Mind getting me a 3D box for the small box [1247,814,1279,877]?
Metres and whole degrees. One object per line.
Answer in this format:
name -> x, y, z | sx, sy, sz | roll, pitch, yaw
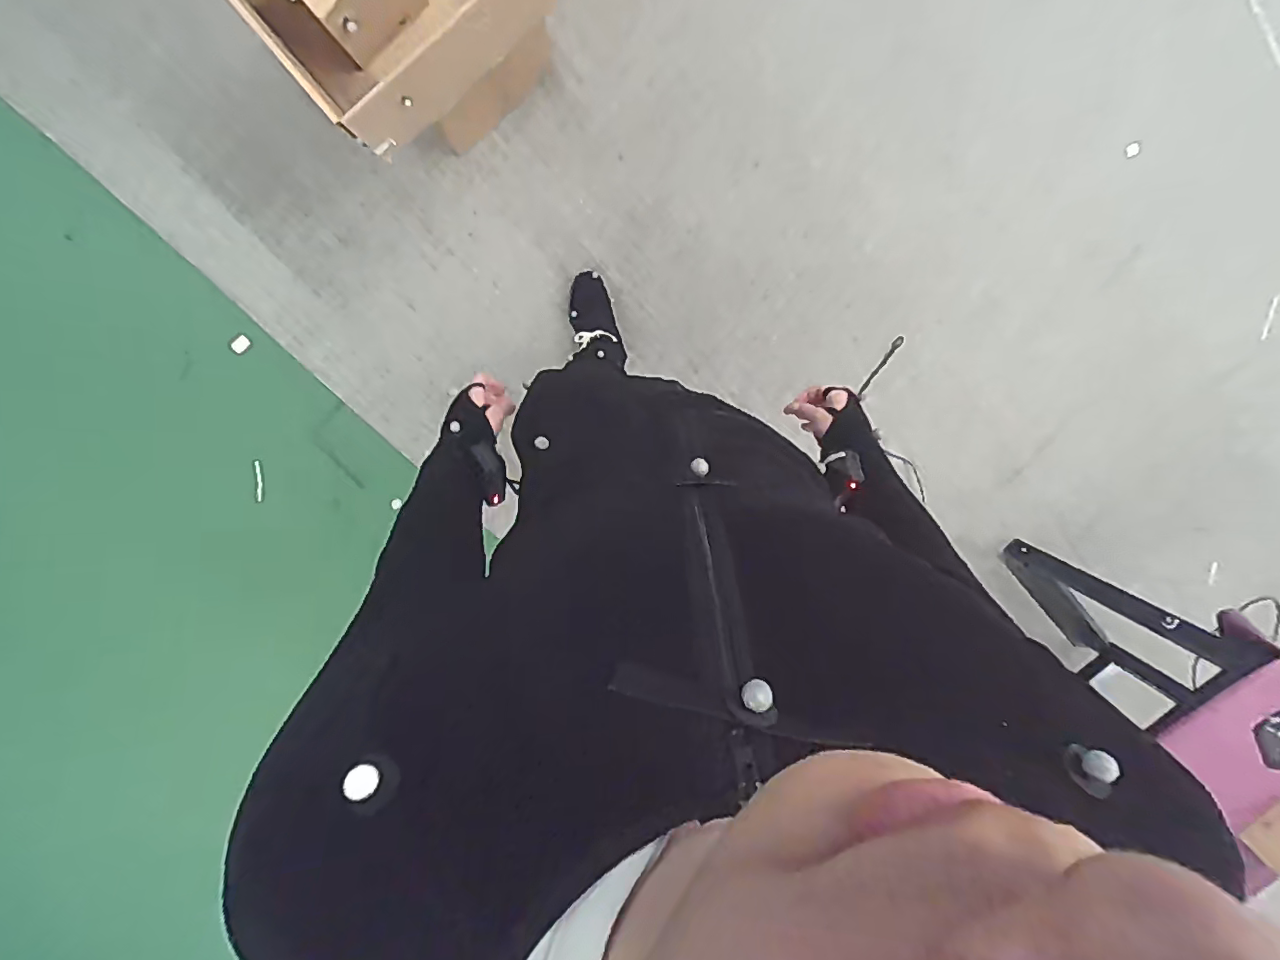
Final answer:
small box -> 1.501, 0.840, 1.170 | 0.179, 0.176, 0.168 | 40, 98, -15
